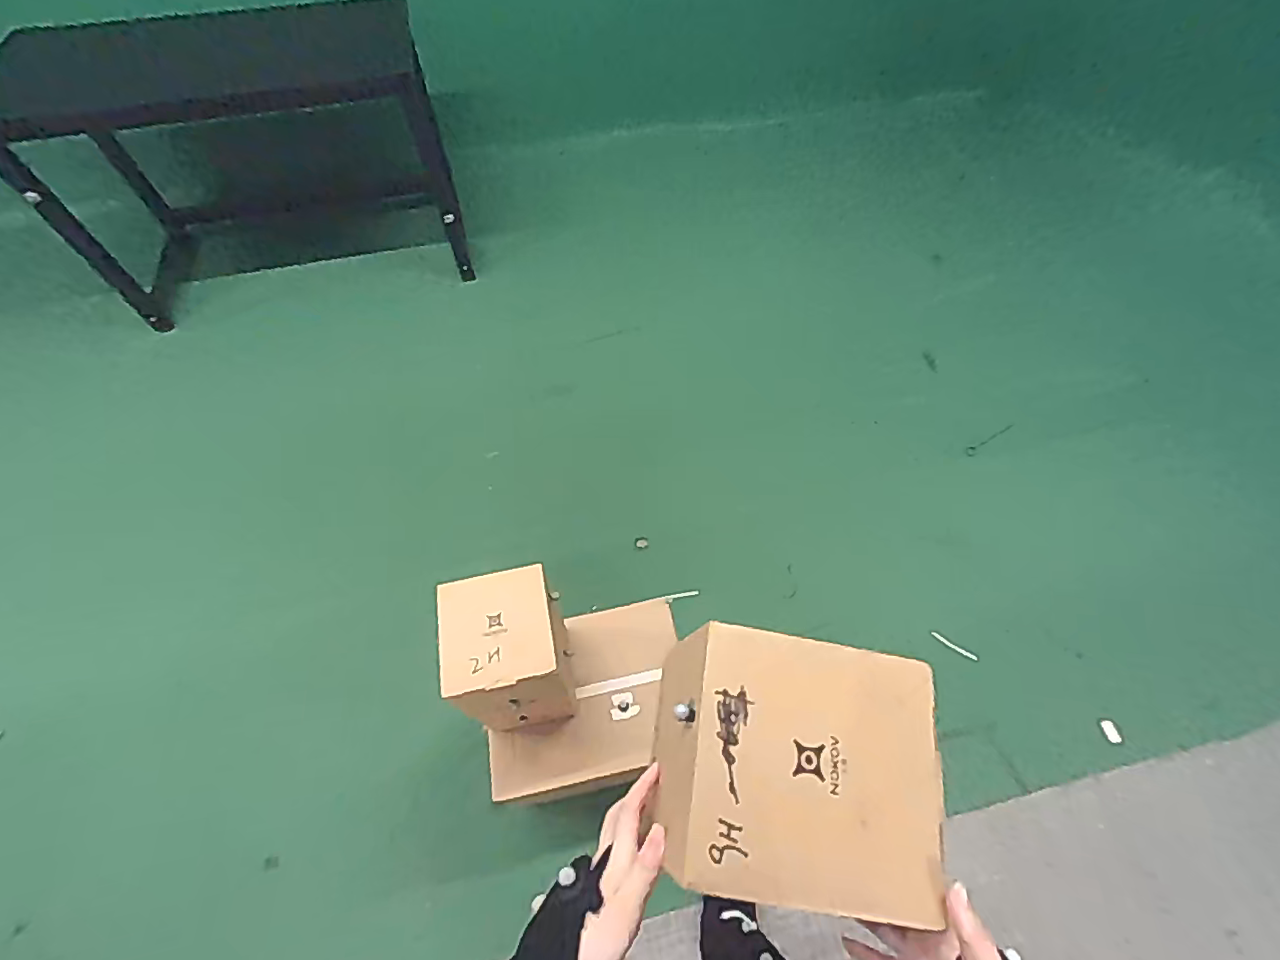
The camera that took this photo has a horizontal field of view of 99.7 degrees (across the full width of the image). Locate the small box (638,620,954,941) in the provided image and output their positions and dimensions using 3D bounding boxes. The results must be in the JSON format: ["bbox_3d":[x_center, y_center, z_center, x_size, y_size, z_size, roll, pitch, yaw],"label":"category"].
[{"bbox_3d":[0.108,0.225,0.429,0.179,0.176,0.168,13,62,-4],"label":"small box"}]

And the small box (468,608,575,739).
[{"bbox_3d":[-0.218,0.360,1.002,0.168,0.176,0.179,-10,57,-7],"label":"small box"}]

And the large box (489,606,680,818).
[{"bbox_3d":[-0.102,0.516,1.189,0.408,0.320,0.320,-10,58,-7],"label":"large box"}]

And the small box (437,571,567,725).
[{"bbox_3d":[-0.216,0.271,0.864,0.168,0.176,0.179,-11,57,-7],"label":"small box"}]
